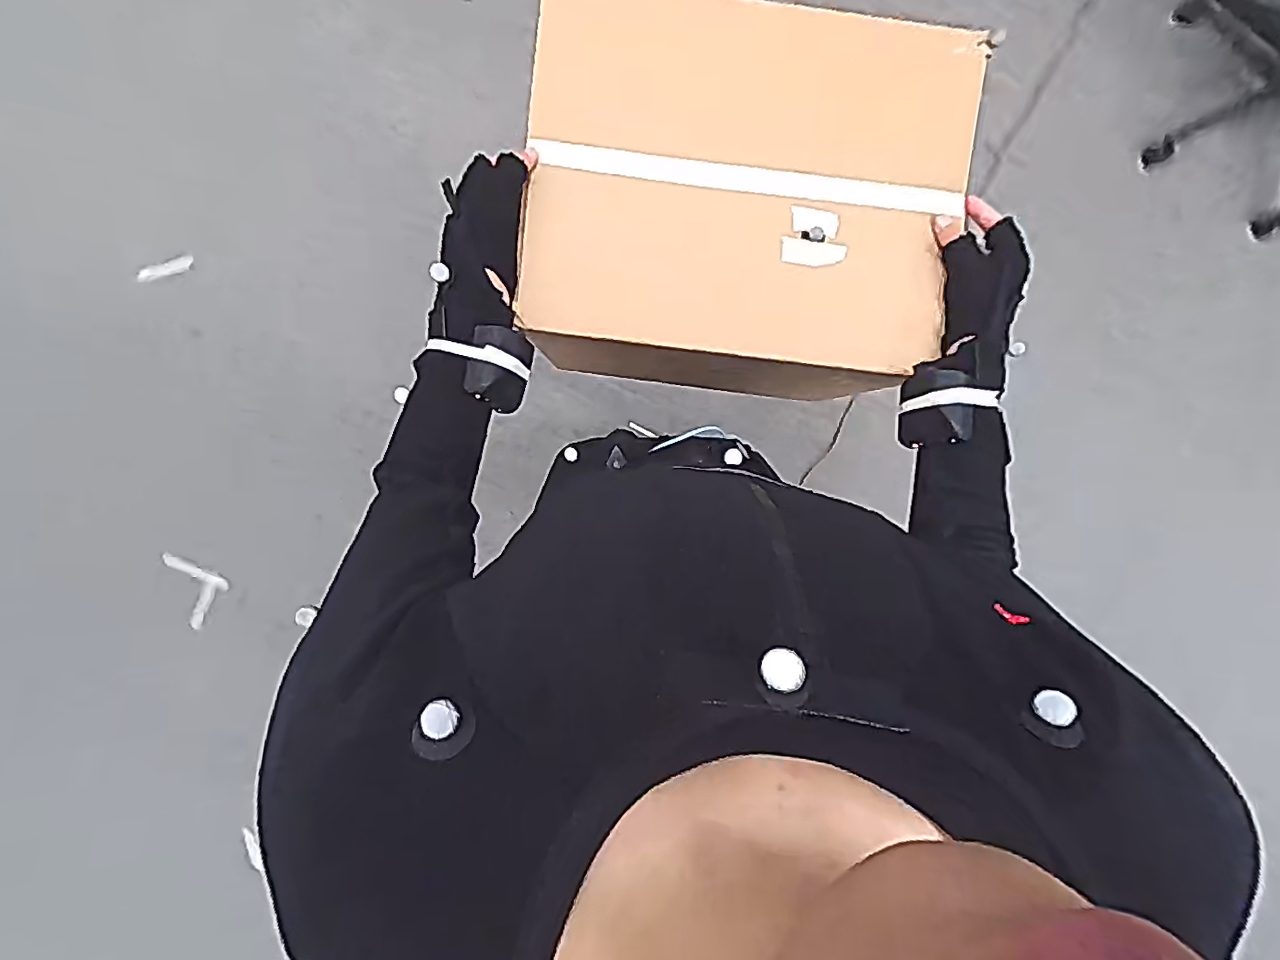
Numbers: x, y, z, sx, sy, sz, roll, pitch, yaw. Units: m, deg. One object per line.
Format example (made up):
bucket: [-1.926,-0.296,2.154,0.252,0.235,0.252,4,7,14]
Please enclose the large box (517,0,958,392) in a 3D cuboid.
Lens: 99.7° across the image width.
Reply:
large box: [0.085,-0.290,0.661,0.408,0.320,0.320,6,95,-2]
